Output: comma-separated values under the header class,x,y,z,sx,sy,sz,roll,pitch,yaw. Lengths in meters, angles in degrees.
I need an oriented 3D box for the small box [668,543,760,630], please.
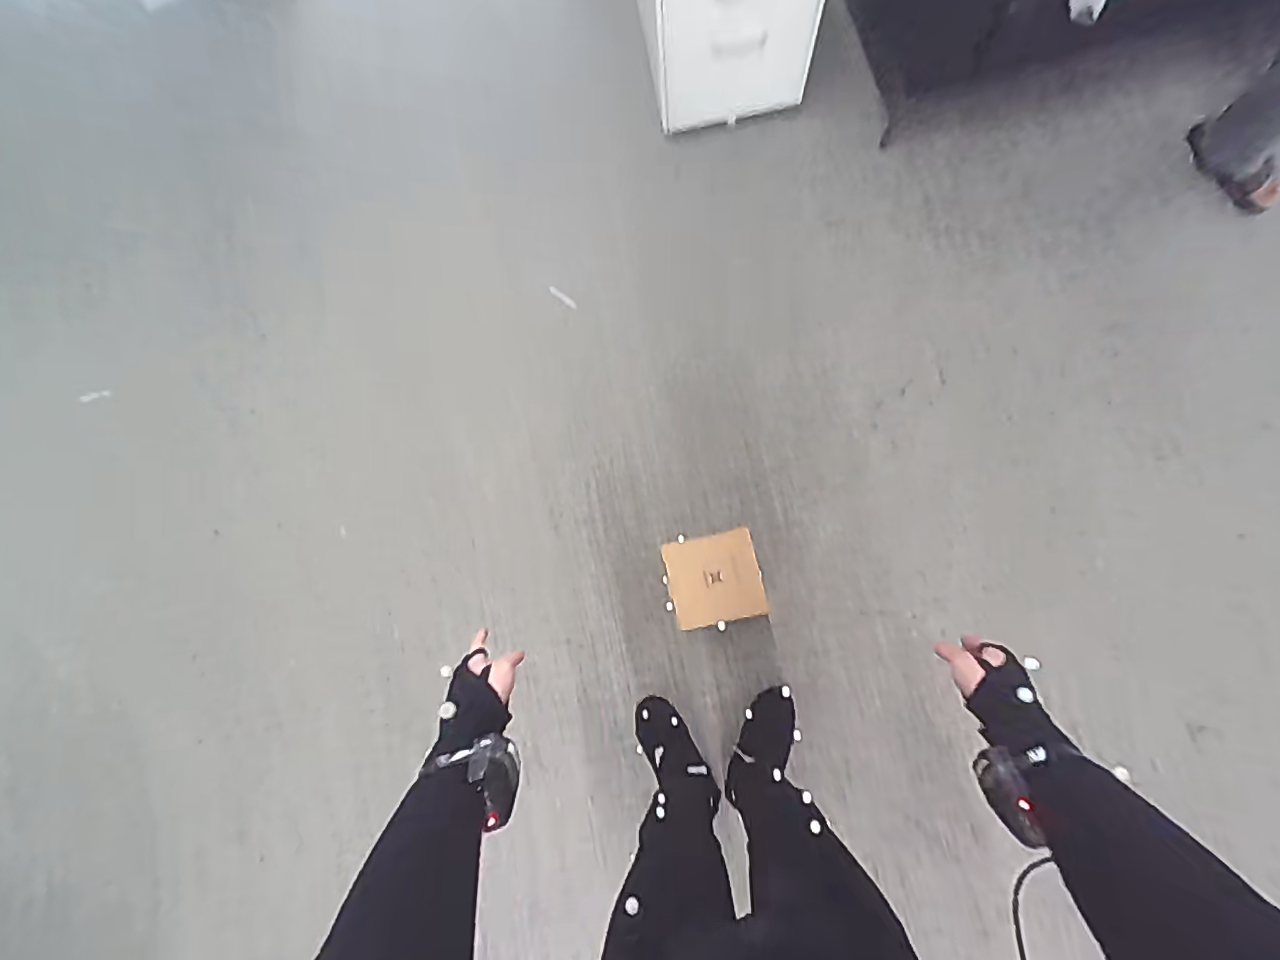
class,x,y,z,sx,sy,sz,roll,pitch,yaw
small box,0.165,0.248,1.263,0.179,0.176,0.168,-12,76,2
